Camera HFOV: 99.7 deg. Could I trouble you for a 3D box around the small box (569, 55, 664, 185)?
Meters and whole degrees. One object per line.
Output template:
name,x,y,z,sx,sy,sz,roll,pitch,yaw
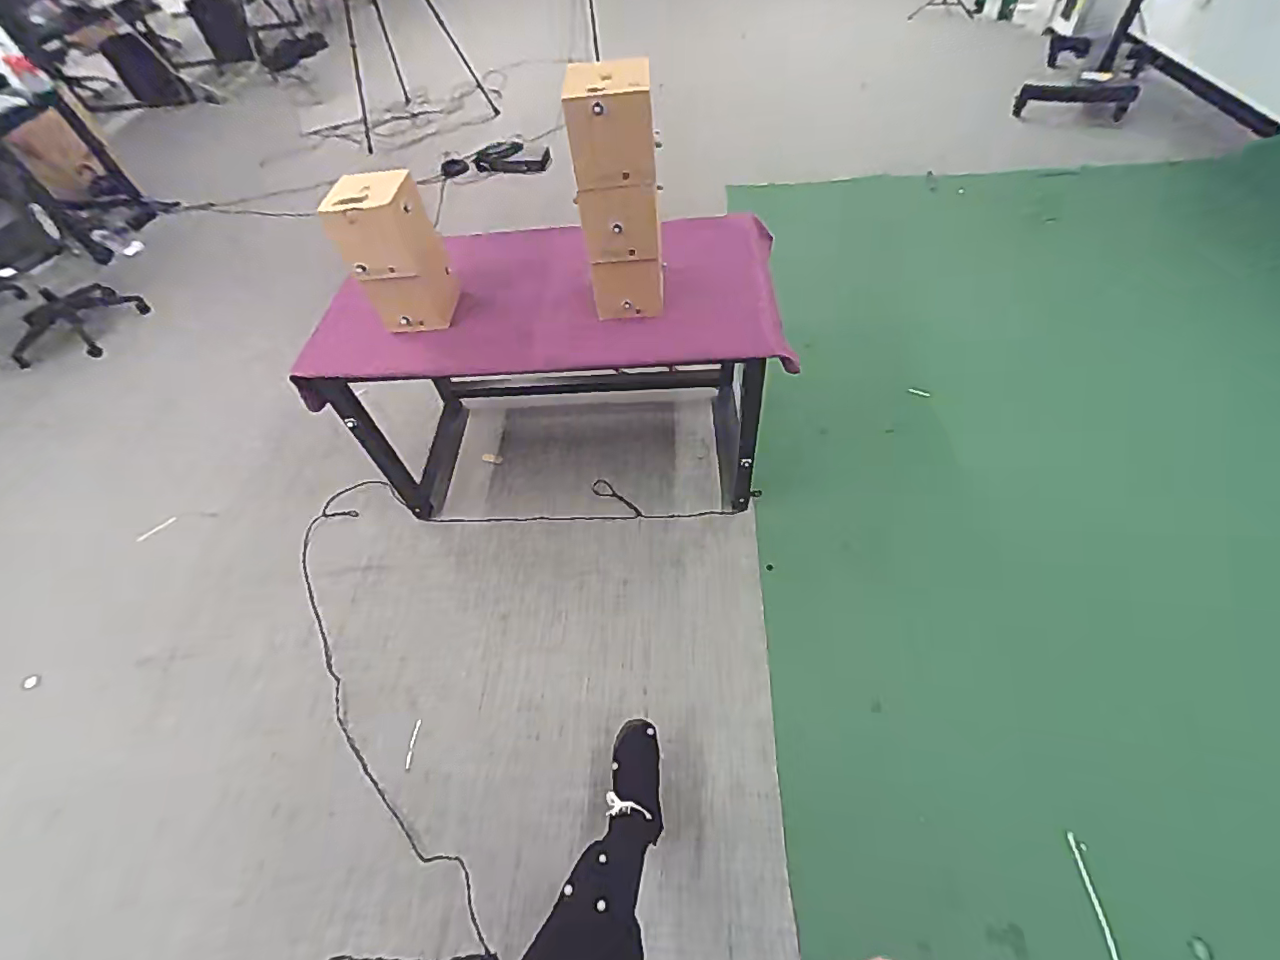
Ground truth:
small box,-0.039,-0.717,1.081,0.168,0.176,0.179,-3,53,5

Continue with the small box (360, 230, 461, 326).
small box,-0.577,-0.518,1.392,0.168,0.176,0.179,-1,54,4

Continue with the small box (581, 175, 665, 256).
small box,-0.030,-0.619,1.212,0.168,0.176,0.179,0,53,5

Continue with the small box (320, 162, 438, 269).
small box,-0.592,-0.608,1.256,0.168,0.176,0.179,-2,52,5
